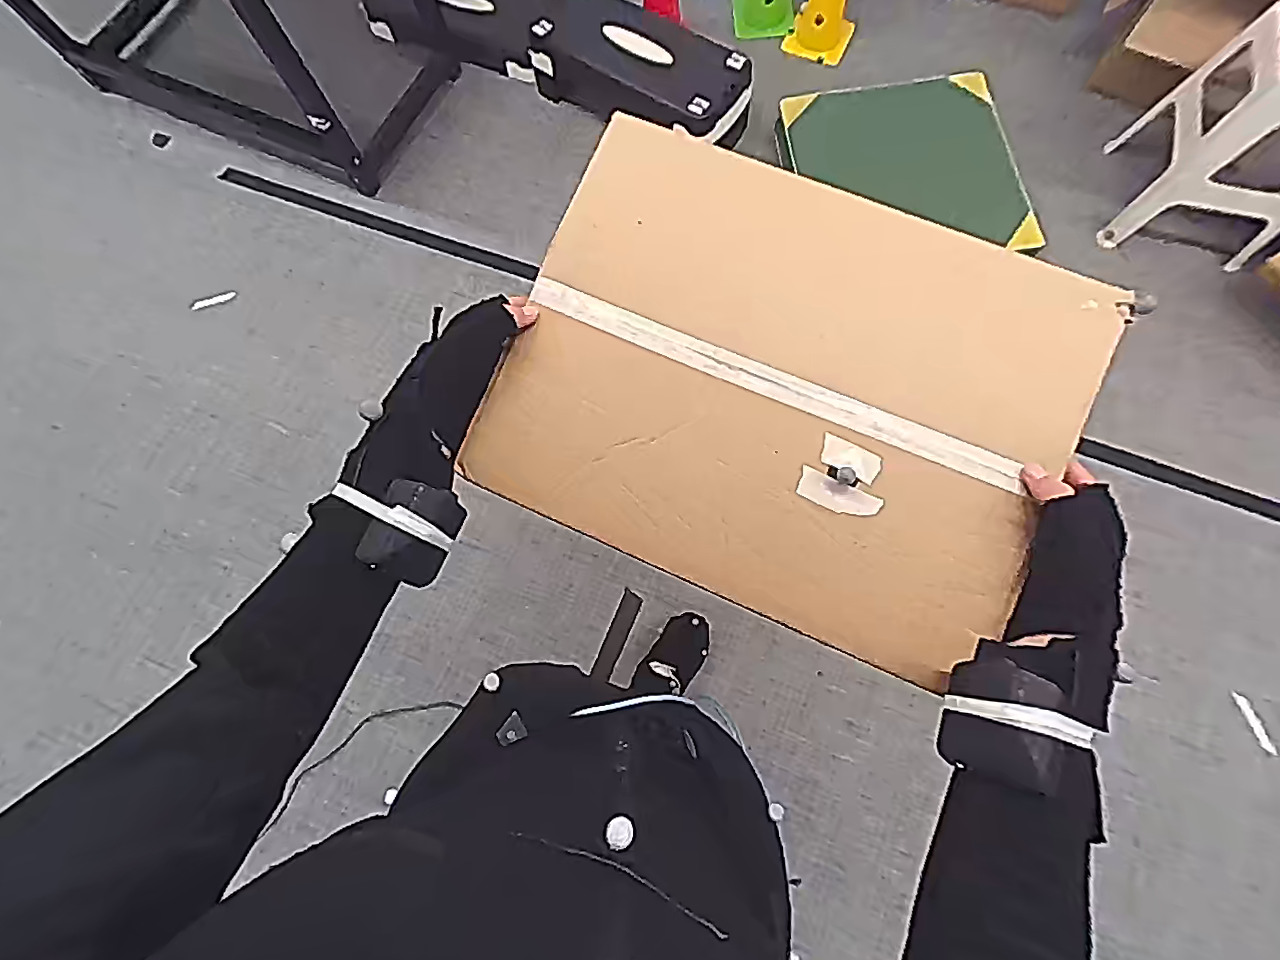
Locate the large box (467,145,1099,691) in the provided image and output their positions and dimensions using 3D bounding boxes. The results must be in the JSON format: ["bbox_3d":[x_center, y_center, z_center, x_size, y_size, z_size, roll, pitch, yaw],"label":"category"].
[{"bbox_3d":[0.111,-0.048,0.558,0.408,0.320,0.320,23,88,6],"label":"large box"}]
